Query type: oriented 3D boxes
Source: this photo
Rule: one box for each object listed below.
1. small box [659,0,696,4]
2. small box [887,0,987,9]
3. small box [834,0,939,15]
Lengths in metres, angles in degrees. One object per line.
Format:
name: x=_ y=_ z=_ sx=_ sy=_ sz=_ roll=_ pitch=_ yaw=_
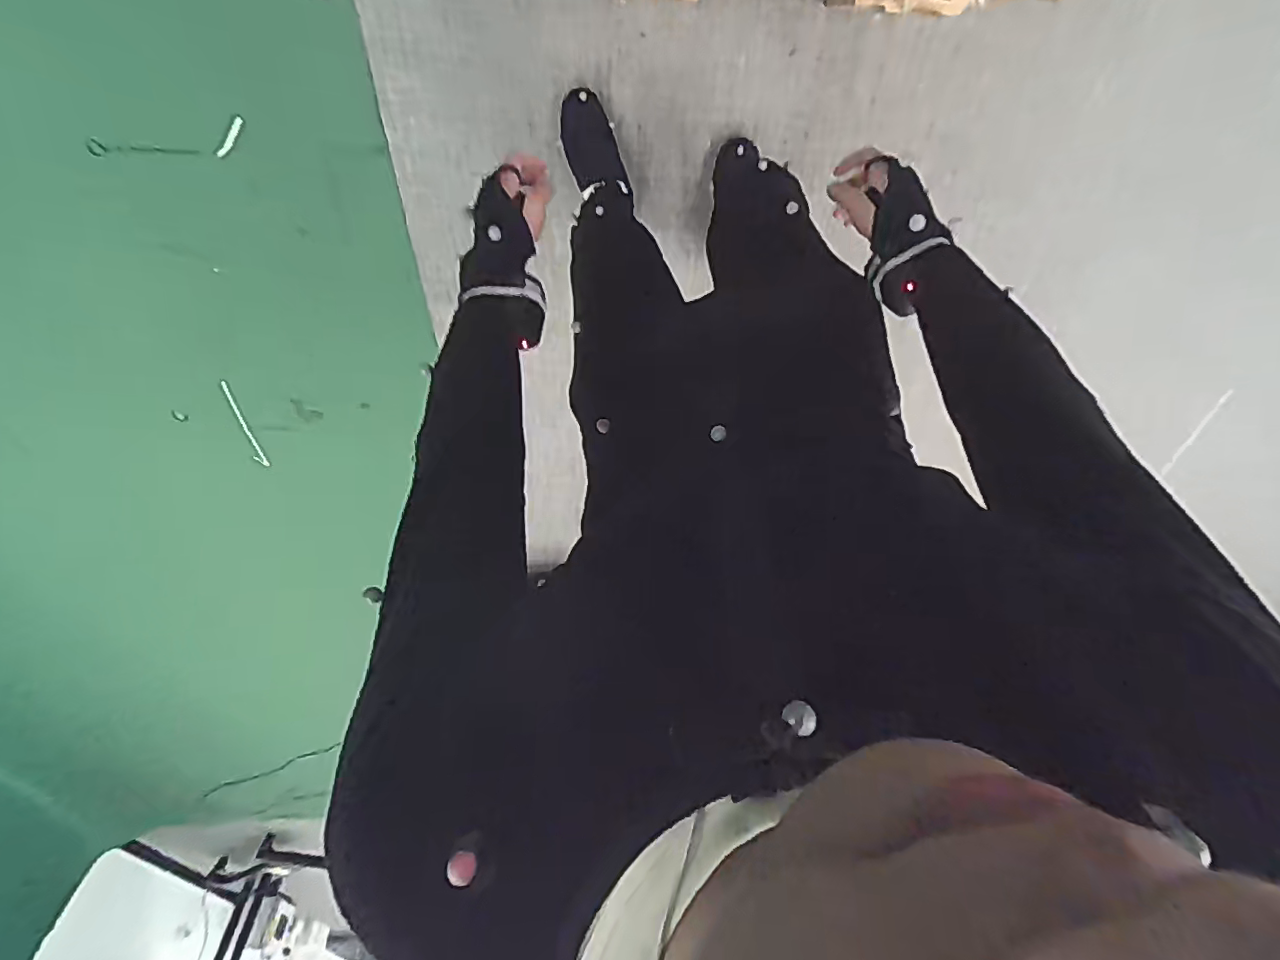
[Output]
small box: x=0.028 y=-0.980 z=0.971 sx=0.168 sy=0.176 sz=0.179 roll=2 pitch=130 yaw=-6
small box: x=0.475 y=-0.873 z=0.854 sx=0.168 sy=0.176 sz=0.179 roll=5 pitch=130 yaw=-6
small box: x=0.466 y=-0.972 z=0.985 sx=0.168 sy=0.176 sz=0.179 roll=0 pitch=131 yaw=-5
